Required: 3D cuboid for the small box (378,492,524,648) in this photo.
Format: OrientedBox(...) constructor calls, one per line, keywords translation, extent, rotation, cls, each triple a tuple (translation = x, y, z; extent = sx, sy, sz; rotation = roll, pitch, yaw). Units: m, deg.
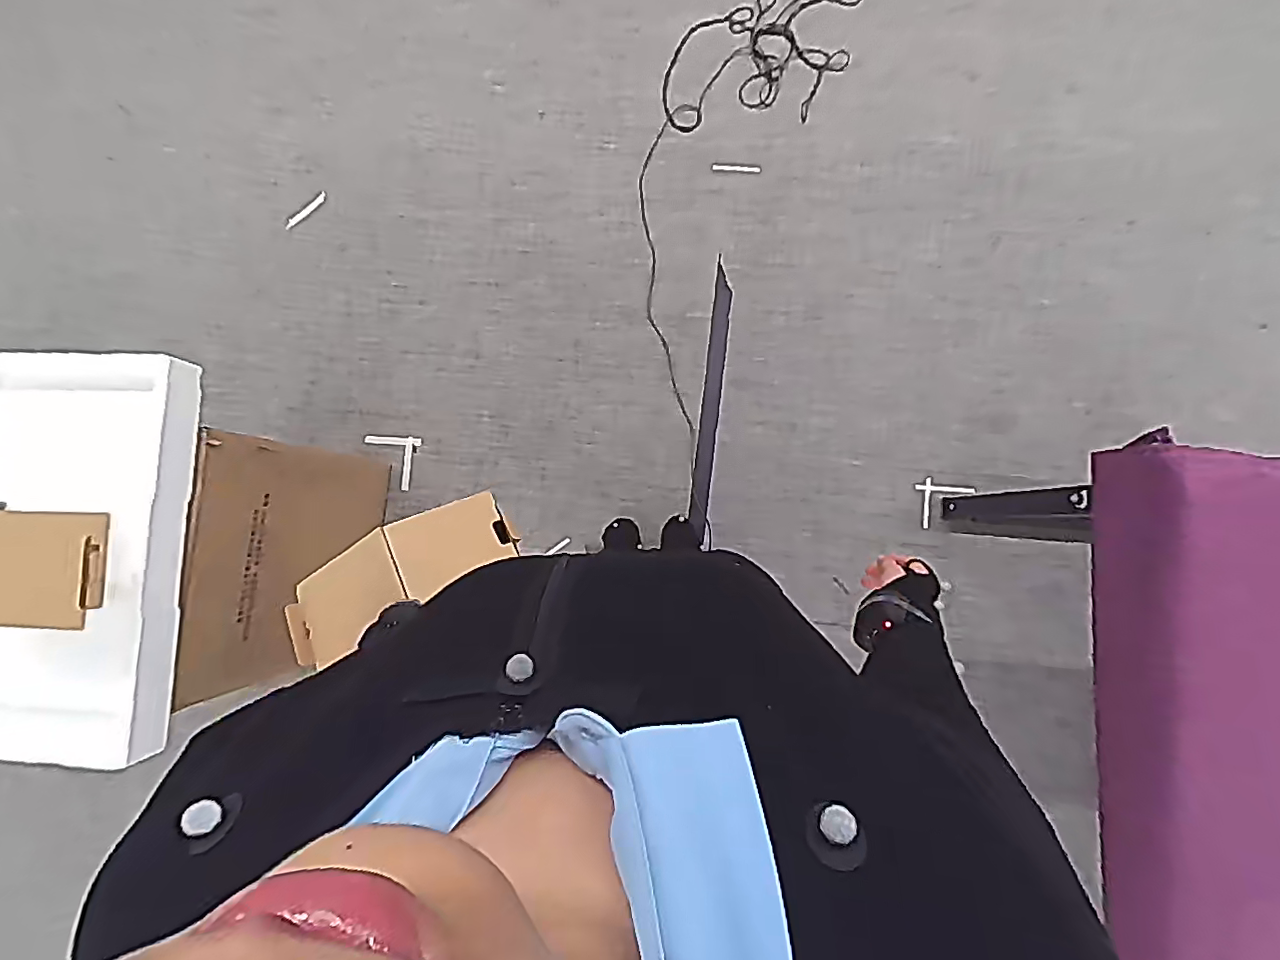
OrientedBox(translation=(-0.301, 0.152, 0.888), extent=(0.179, 0.176, 0.168), rotation=(-21, 66, -24), cls="small box")
